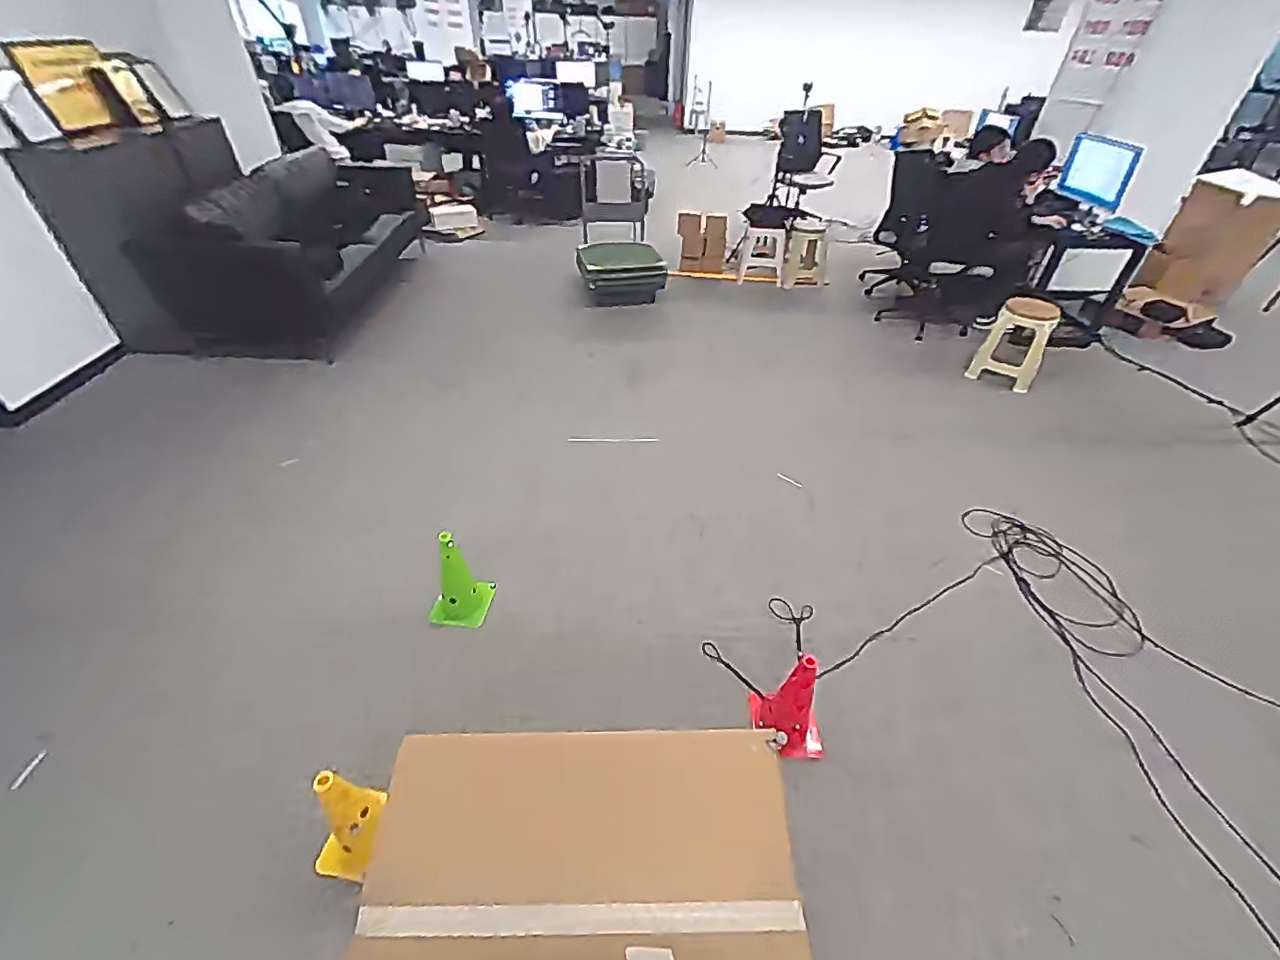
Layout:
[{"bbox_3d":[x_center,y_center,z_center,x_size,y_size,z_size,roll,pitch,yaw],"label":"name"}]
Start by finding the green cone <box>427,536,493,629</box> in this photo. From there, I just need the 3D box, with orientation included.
[{"bbox_3d":[-0.657,0.328,1.877,0.200,0.368,0.202,4,41,3],"label":"green cone"}]

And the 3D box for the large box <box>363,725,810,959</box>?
[{"bbox_3d":[-0.046,0.491,0.614,0.408,0.320,0.320,-2,52,1],"label":"large box"}]
